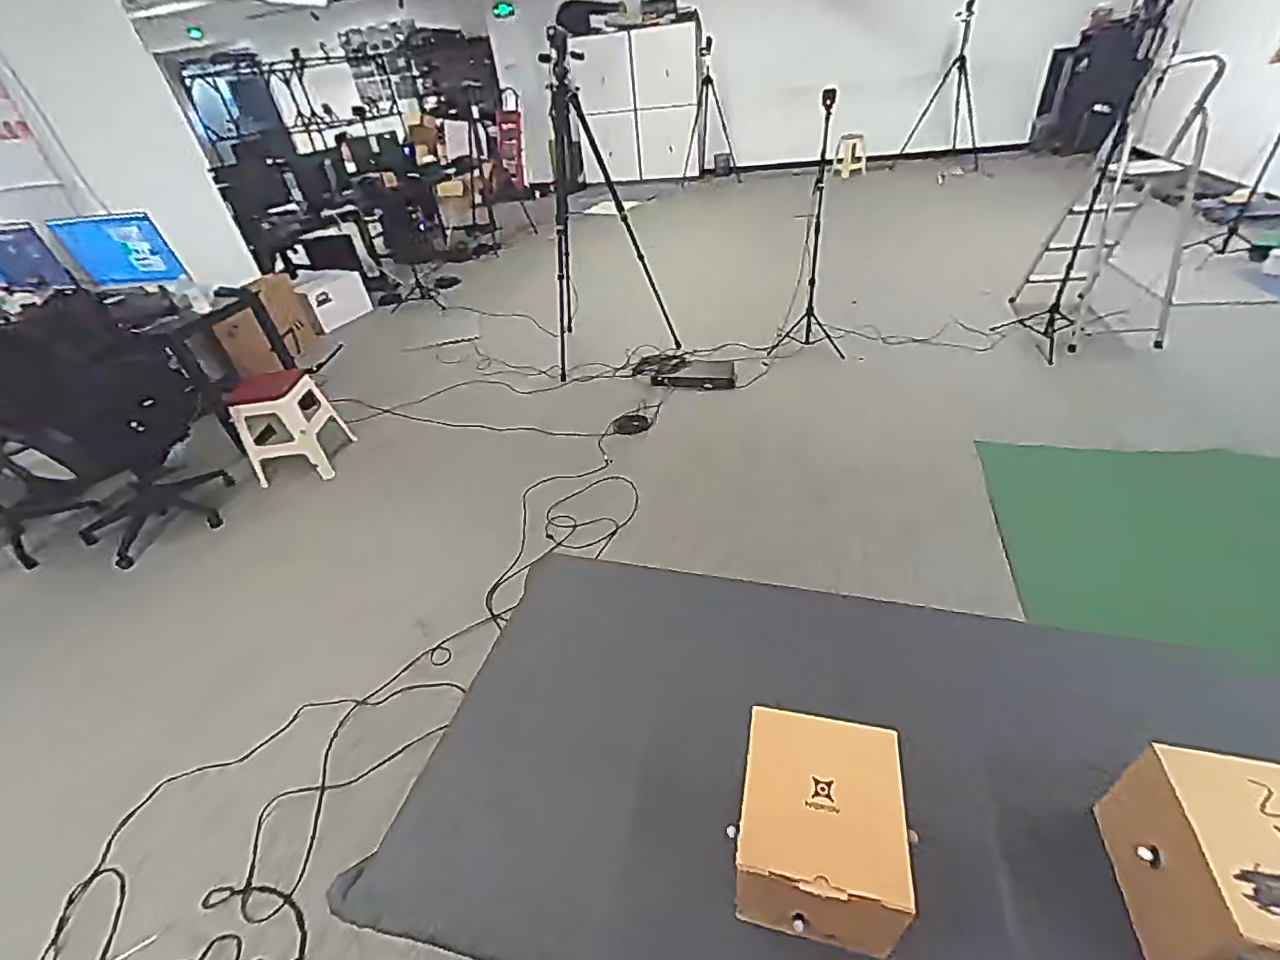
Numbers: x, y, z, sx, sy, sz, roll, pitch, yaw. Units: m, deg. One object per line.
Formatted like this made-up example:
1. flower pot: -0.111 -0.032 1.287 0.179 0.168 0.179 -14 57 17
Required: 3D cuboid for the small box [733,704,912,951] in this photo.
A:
1. small box: 0.200 0.399 0.629 0.168 0.176 0.179 5 40 14
